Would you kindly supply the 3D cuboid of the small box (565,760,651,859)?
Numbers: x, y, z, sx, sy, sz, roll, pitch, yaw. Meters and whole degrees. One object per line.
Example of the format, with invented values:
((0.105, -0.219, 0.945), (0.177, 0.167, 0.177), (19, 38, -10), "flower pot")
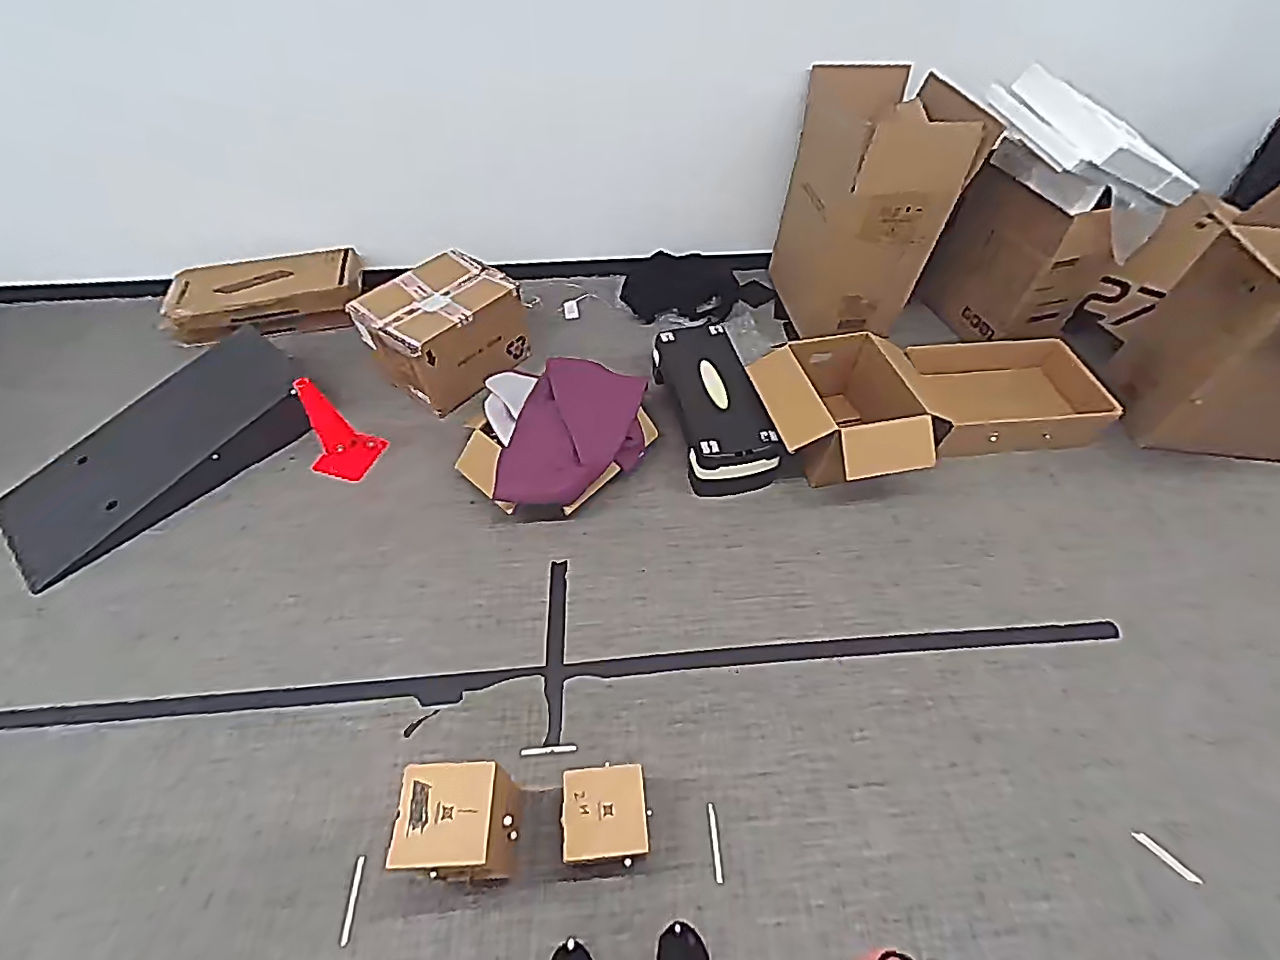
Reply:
((-0.071, 0.730, 1.196), (0.179, 0.176, 0.168), (-4, 53, -3), "small box")

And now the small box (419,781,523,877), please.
((-0.357, 0.754, 1.179), (0.168, 0.176, 0.179), (-2, 54, -1), "small box")

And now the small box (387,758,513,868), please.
((-0.356, 0.649, 1.051), (0.179, 0.176, 0.168), (-2, 53, -2), "small box")
